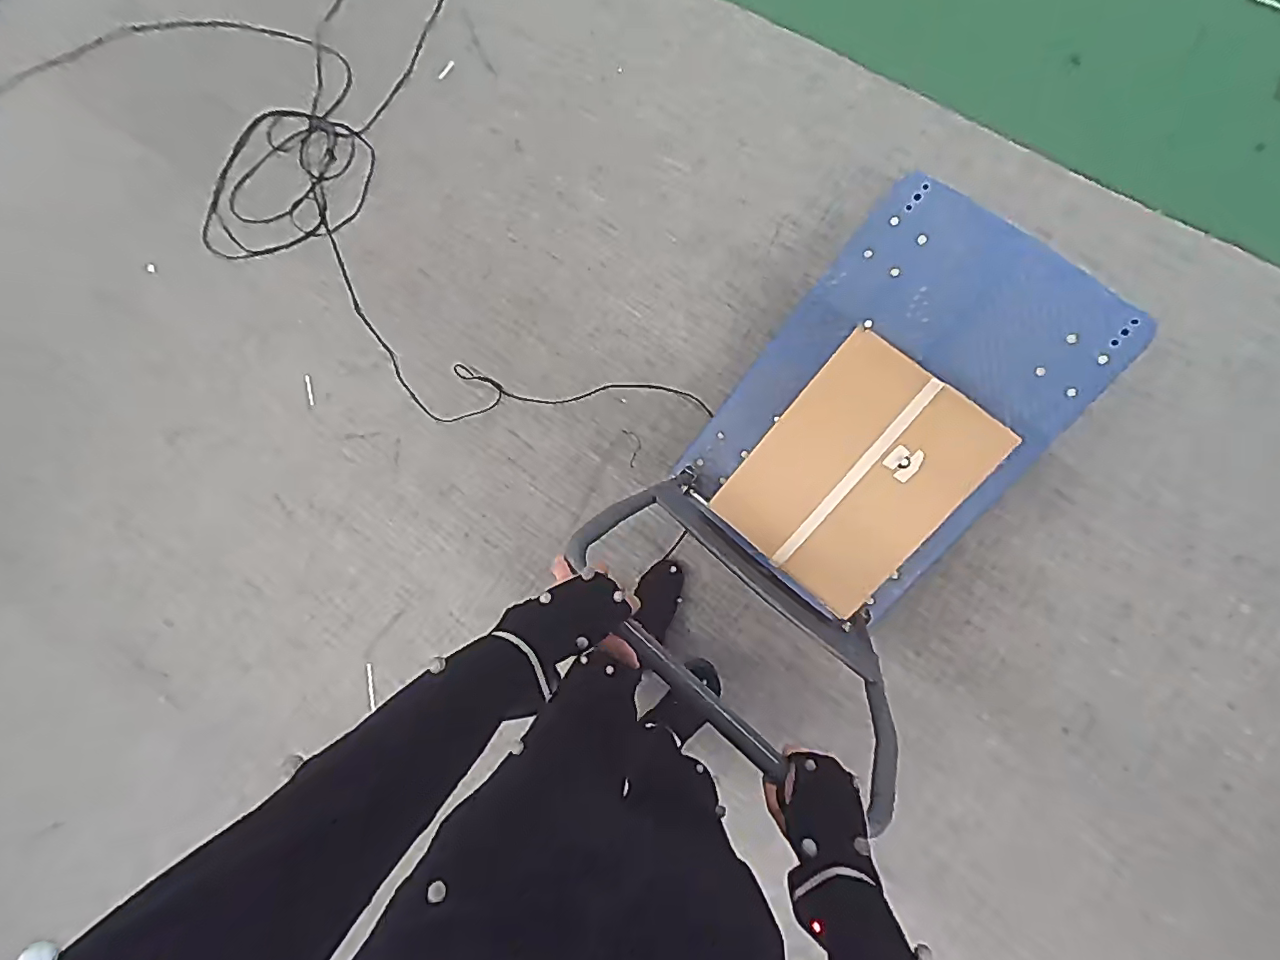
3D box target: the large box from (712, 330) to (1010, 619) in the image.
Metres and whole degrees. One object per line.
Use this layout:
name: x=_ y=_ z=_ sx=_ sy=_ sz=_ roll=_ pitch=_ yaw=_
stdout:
large box: x=0.397 y=-0.009 z=1.061 sx=0.320 sy=0.320 sz=0.408 roll=40 pitch=101 yaw=10
